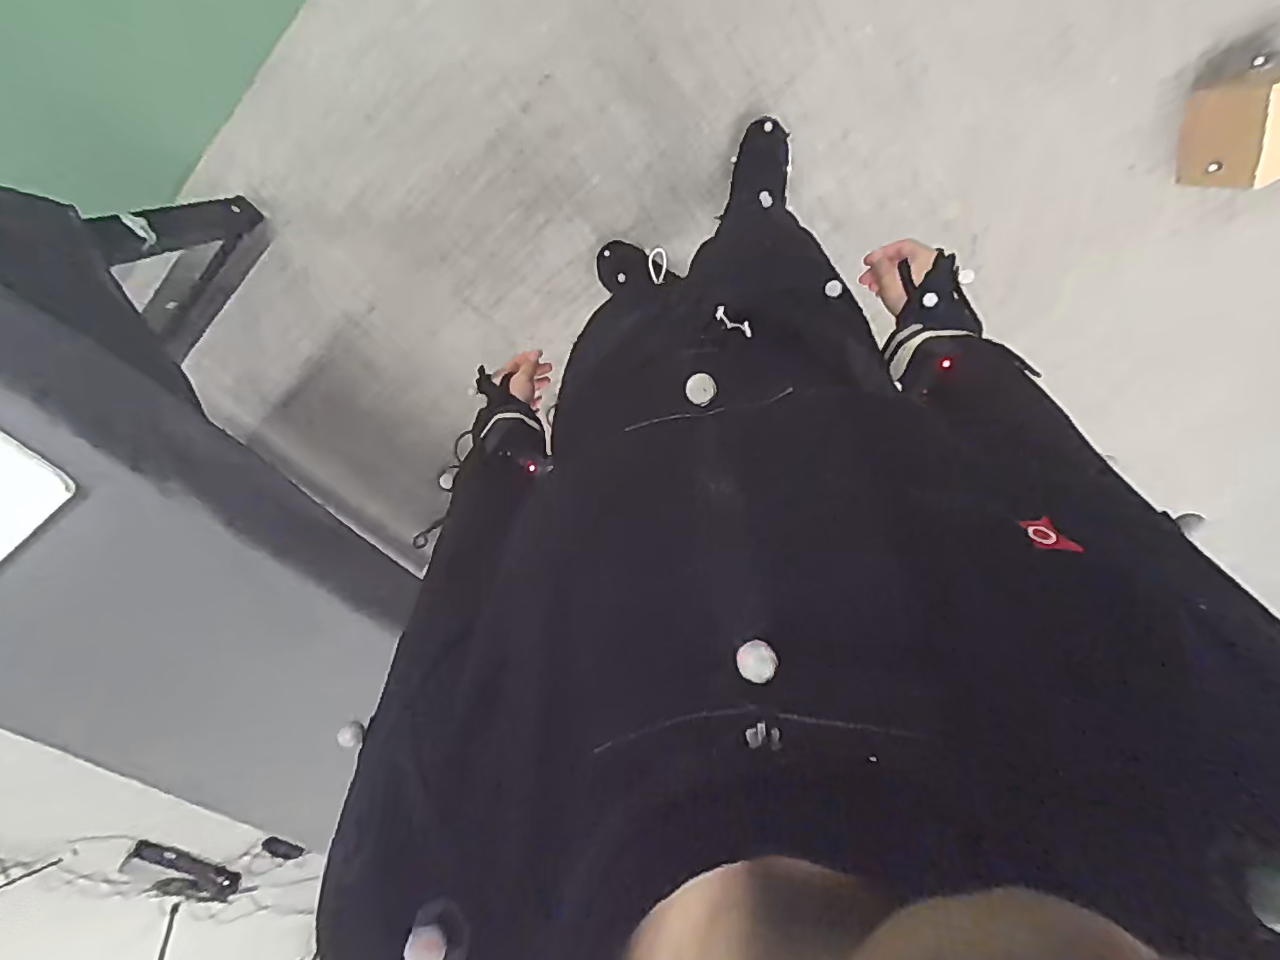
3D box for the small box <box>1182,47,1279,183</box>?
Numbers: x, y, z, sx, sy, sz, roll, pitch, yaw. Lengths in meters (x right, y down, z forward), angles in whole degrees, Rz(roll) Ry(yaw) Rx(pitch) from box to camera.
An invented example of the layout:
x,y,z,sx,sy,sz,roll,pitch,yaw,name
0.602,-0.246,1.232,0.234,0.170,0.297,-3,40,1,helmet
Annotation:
x,y,z,sx,sy,sz,roll,pitch,yaw,name
1.175,-0.686,1.009,0.168,0.176,0.179,-21,119,11,small box
